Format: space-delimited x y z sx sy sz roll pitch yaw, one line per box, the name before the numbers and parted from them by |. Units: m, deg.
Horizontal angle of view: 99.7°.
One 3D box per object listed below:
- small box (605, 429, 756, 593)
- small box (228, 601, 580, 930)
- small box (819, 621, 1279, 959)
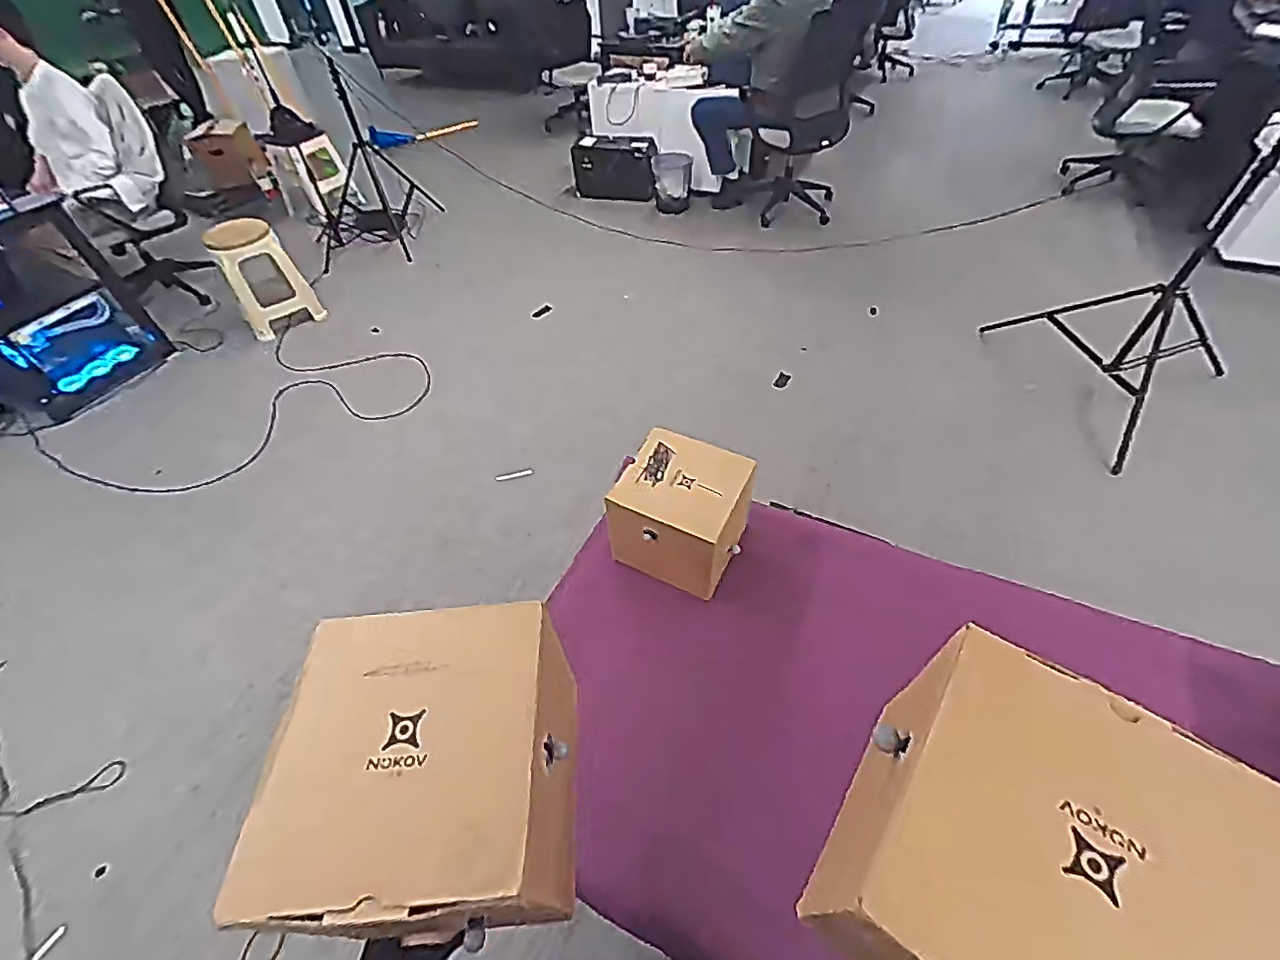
small box | 0.065 0.052 0.859 0.179 0.176 0.168 21 55 19
small box | -0.136 0.213 0.397 0.168 0.176 0.179 -5 47 0
small box | 0.223 0.227 0.320 0.168 0.176 0.179 28 56 25
